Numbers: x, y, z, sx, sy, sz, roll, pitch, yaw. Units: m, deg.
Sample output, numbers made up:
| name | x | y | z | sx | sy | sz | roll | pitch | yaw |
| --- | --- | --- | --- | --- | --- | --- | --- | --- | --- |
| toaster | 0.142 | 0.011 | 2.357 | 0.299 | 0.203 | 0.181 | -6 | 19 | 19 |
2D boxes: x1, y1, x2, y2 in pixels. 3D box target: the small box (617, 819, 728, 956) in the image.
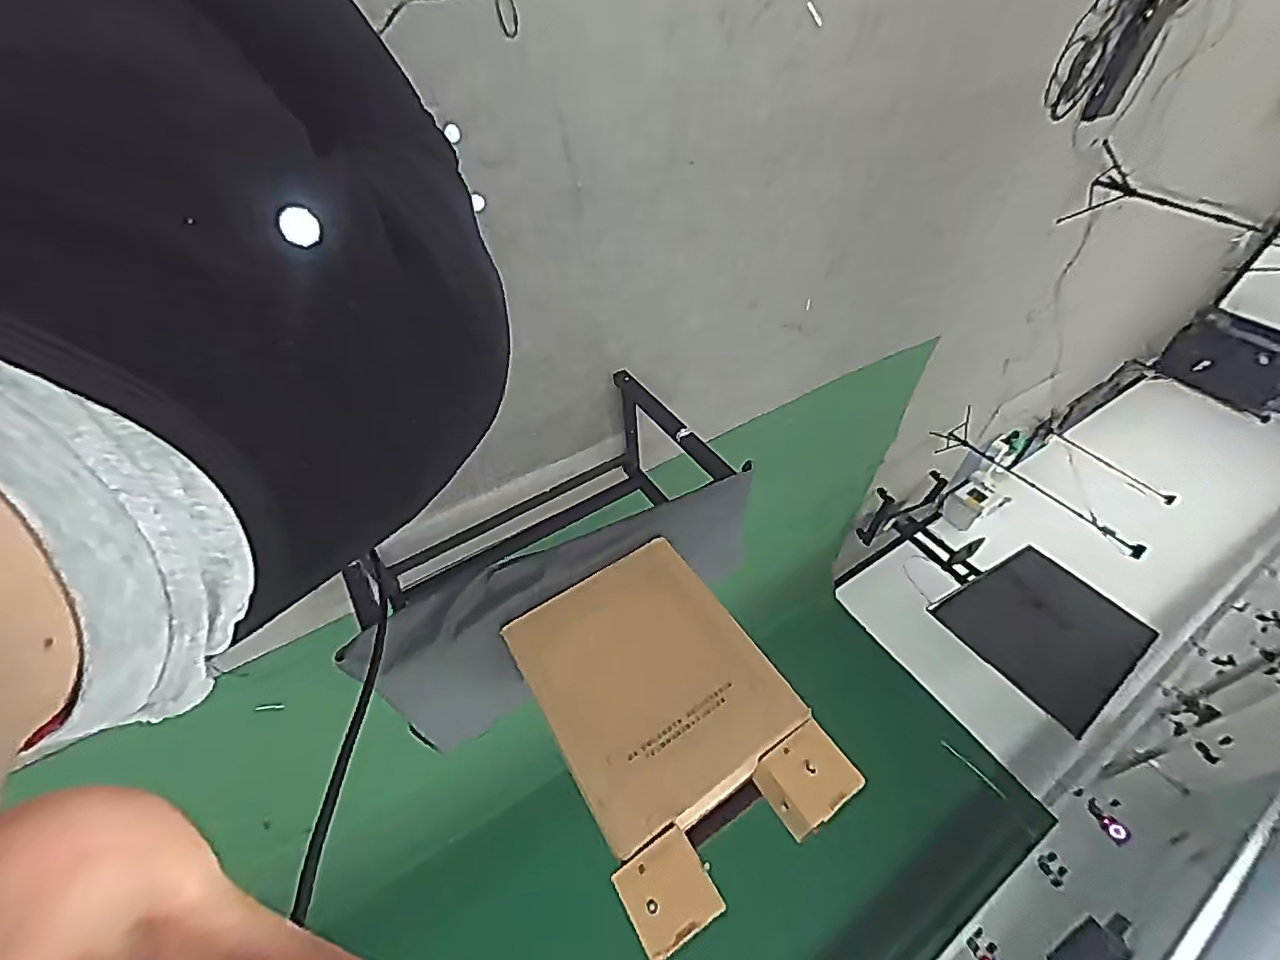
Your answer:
| name | x | y | z | sx | sy | sz | roll | pitch | yaw |
| --- | --- | --- | --- | --- | --- | --- | --- | --- | --- |
| small box | 0.069 | 0.853 | 1.147 | 0.168 | 0.176 | 0.179 | -31 | 145 | -12 |

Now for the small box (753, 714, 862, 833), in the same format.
| name | x | y | z | sx | sy | sz | roll | pitch | yaw |
| --- | --- | --- | --- | --- | --- | --- | --- | --- | --- |
| small box | 0.389 | 0.691 | 1.288 | 0.168 | 0.176 | 0.179 | -28 | 143 | -21 |
